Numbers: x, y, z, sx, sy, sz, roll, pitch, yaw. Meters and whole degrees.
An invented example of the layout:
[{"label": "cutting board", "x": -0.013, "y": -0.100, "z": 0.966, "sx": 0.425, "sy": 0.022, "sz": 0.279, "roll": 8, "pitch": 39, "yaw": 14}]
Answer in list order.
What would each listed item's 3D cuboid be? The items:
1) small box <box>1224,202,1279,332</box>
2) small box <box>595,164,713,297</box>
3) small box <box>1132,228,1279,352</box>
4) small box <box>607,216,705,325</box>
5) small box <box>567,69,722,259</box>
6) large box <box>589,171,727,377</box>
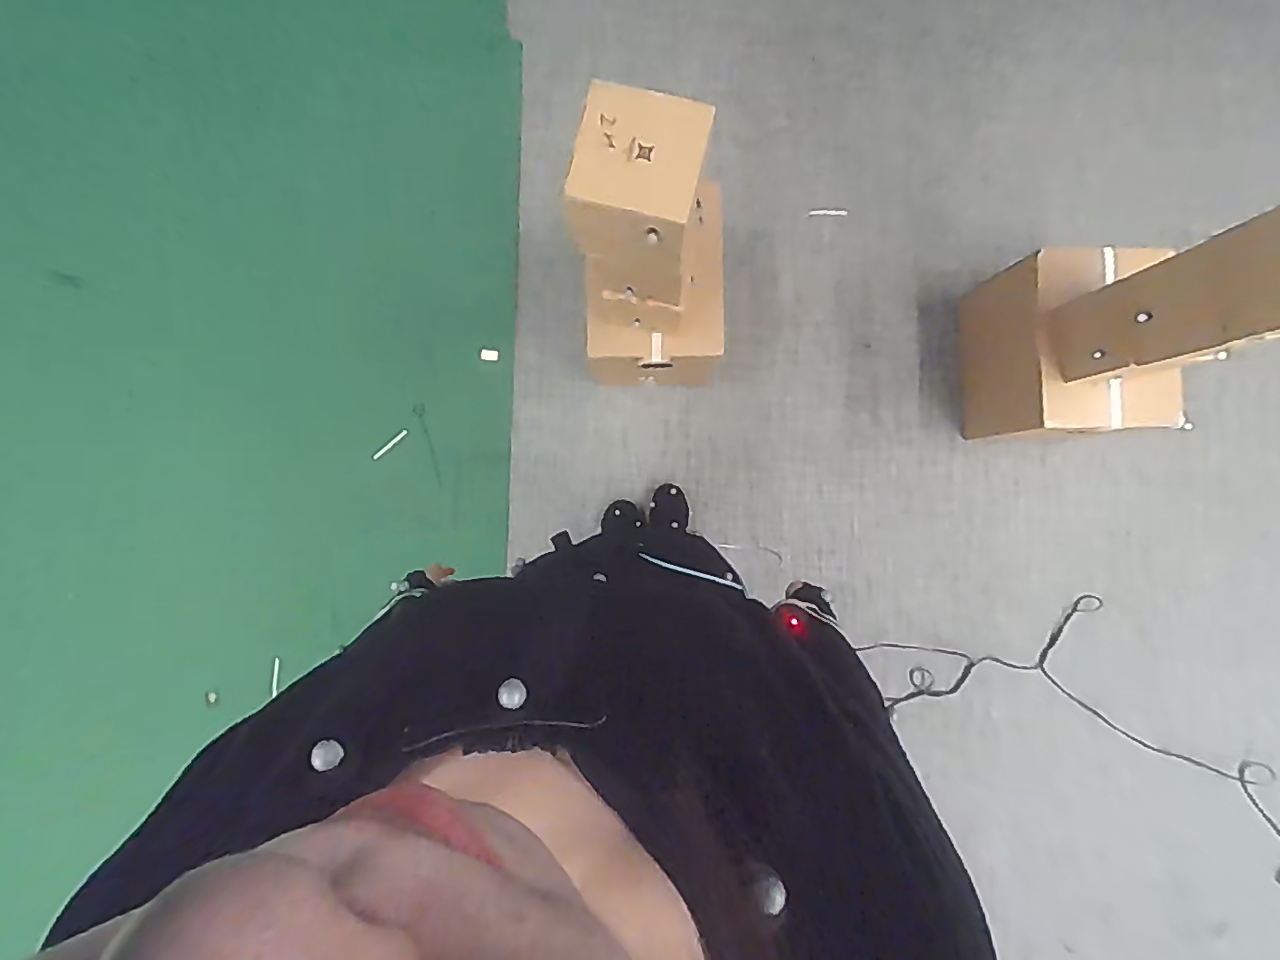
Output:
[{"label": "small box", "x": 1.013, "y": -0.332, "z": 0.779, "sx": 0.168, "sy": 0.176, "sz": 0.179, "roll": -9, "pitch": 90, "yaw": 3}, {"label": "small box", "x": 0.022, "y": -0.454, "z": 0.966, "sx": 0.168, "sy": 0.176, "sz": 0.179, "roll": 14, "pitch": 91, "yaw": 2}, {"label": "small box", "x": 1.020, "y": -0.330, "z": 0.945, "sx": 0.168, "sy": 0.176, "sz": 0.179, "roll": -9, "pitch": 90, "yaw": 2}, {"label": "small box", "x": 0.032, "y": -0.444, "z": 1.129, "sx": 0.168, "sy": 0.176, "sz": 0.179, "roll": 11, "pitch": 90, "yaw": 2}, {"label": "small box", "x": 0.009, "y": -0.451, "z": 0.802, "sx": 0.179, "sy": 0.176, "sz": 0.168, "roll": 15, "pitch": 90, "yaw": 2}, {"label": "large box", "x": 0.044, "y": -0.494, "z": 1.371, "sx": 0.320, "sy": 0.320, "sz": 0.408, "roll": 0, "pitch": 89, "yaw": 1}]
